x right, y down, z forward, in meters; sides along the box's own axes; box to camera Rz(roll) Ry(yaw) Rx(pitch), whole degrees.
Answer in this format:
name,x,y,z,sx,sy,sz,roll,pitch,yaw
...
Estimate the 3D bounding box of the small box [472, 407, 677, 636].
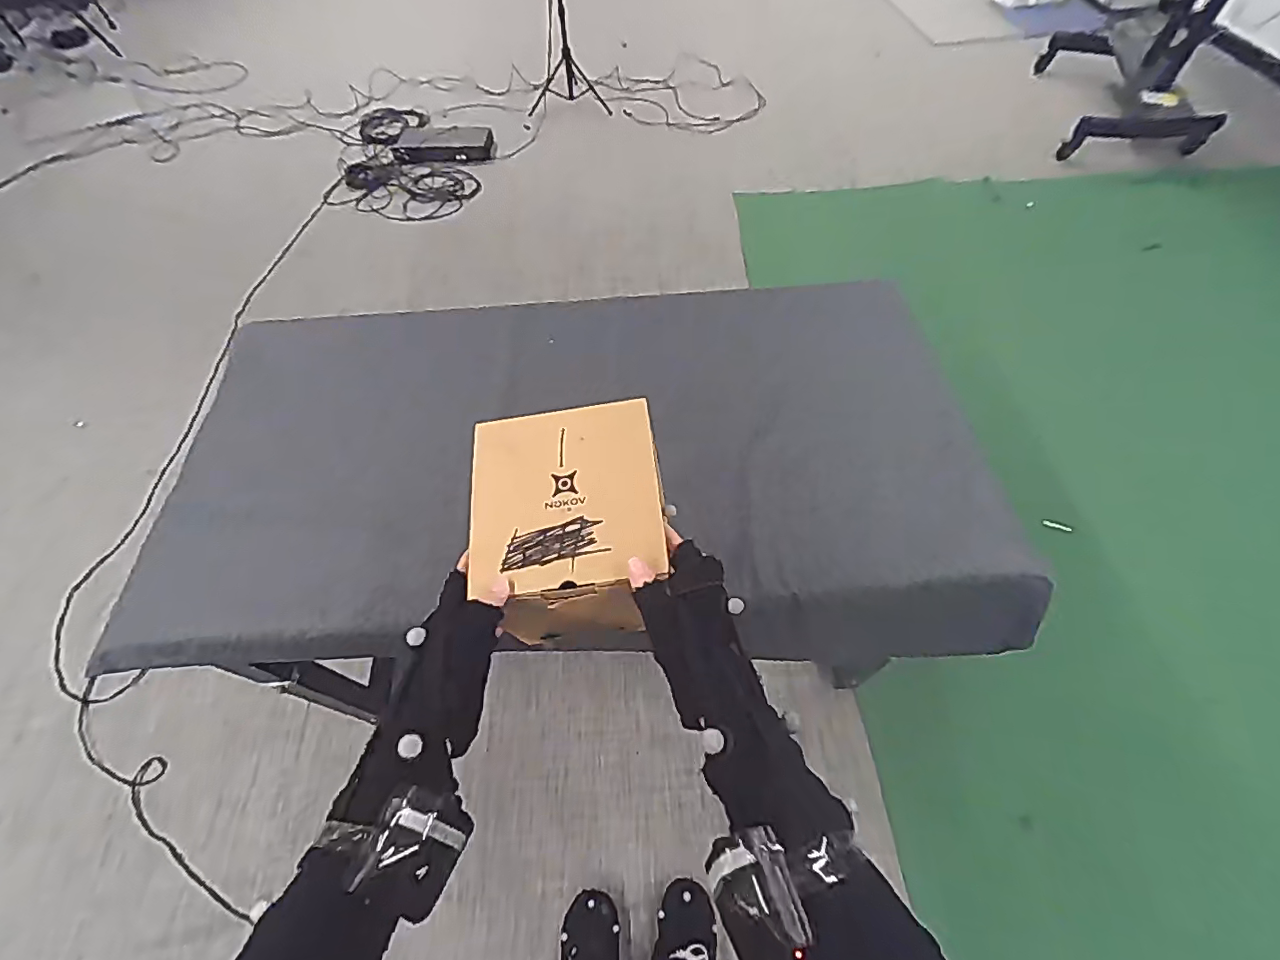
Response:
name,x,y,z,sx,sy,sz,roll,pitch,yaw
small box,-0.054,0.053,0.544,0.168,0.176,0.179,-6,61,3
